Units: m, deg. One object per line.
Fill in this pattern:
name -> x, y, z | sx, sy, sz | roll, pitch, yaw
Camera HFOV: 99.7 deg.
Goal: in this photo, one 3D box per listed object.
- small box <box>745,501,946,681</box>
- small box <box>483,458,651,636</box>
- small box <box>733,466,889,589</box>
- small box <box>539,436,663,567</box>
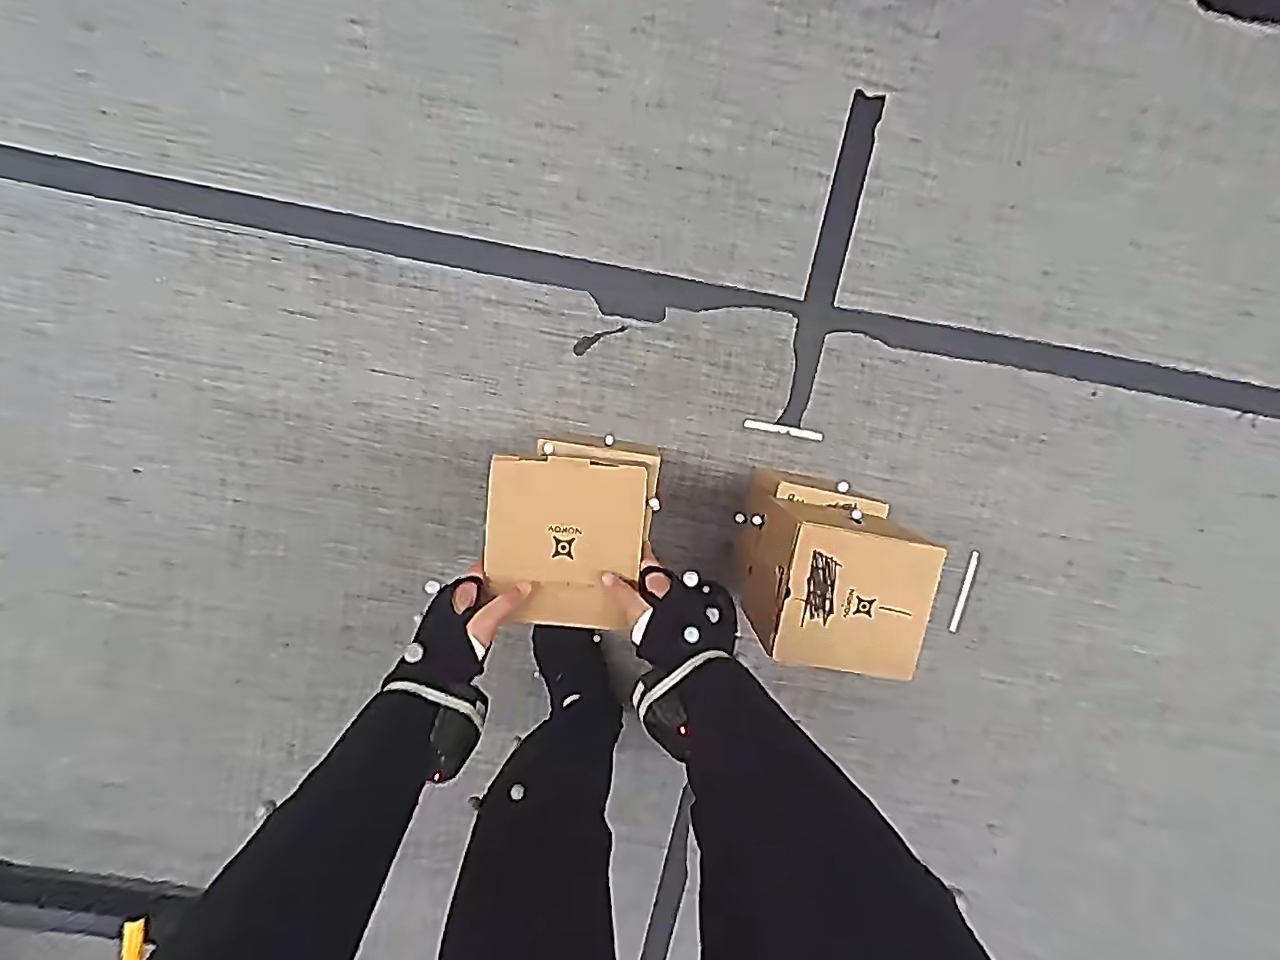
small box -> 0.246, 0.130, 0.697 | 0.179, 0.176, 0.168 | 10, 99, -3
small box -> -0.075, 0.066, 0.634 | 0.168, 0.176, 0.179 | 3, 94, 2
small box -> 0.256, 0.088, 0.858 | 0.168, 0.176, 0.179 | 13, 100, -4
small box -> -0.066, 0.026, 0.842 | 0.179, 0.176, 0.168 | 9, 98, -2
